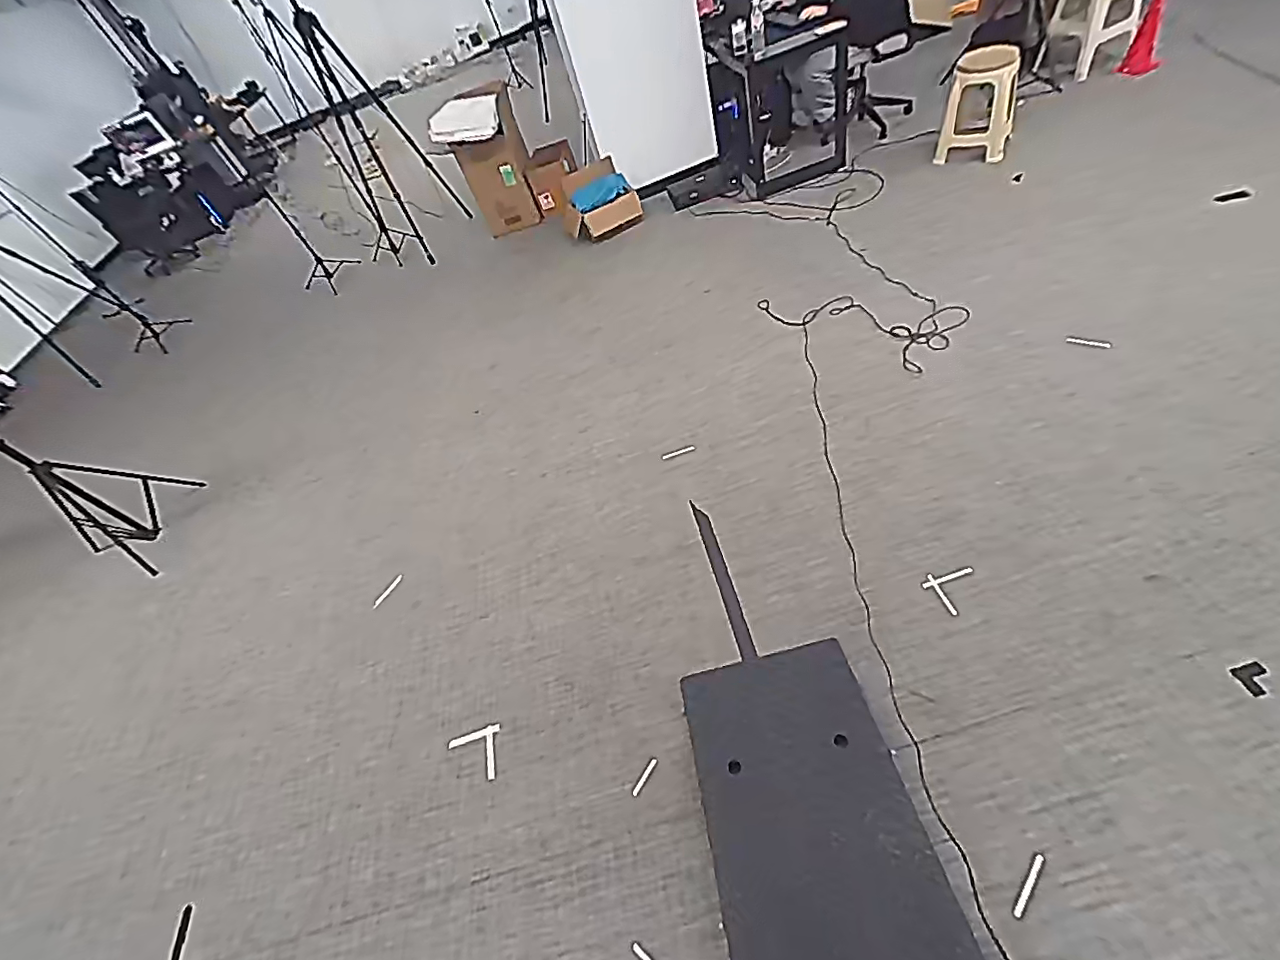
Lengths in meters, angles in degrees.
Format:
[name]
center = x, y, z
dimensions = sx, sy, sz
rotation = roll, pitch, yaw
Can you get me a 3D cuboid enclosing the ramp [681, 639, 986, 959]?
[ramp]
center = 0.405, 0.847, 1.246
dimensions = 0.509, 0.206, 0.991
rotation = -19, 47, 5
